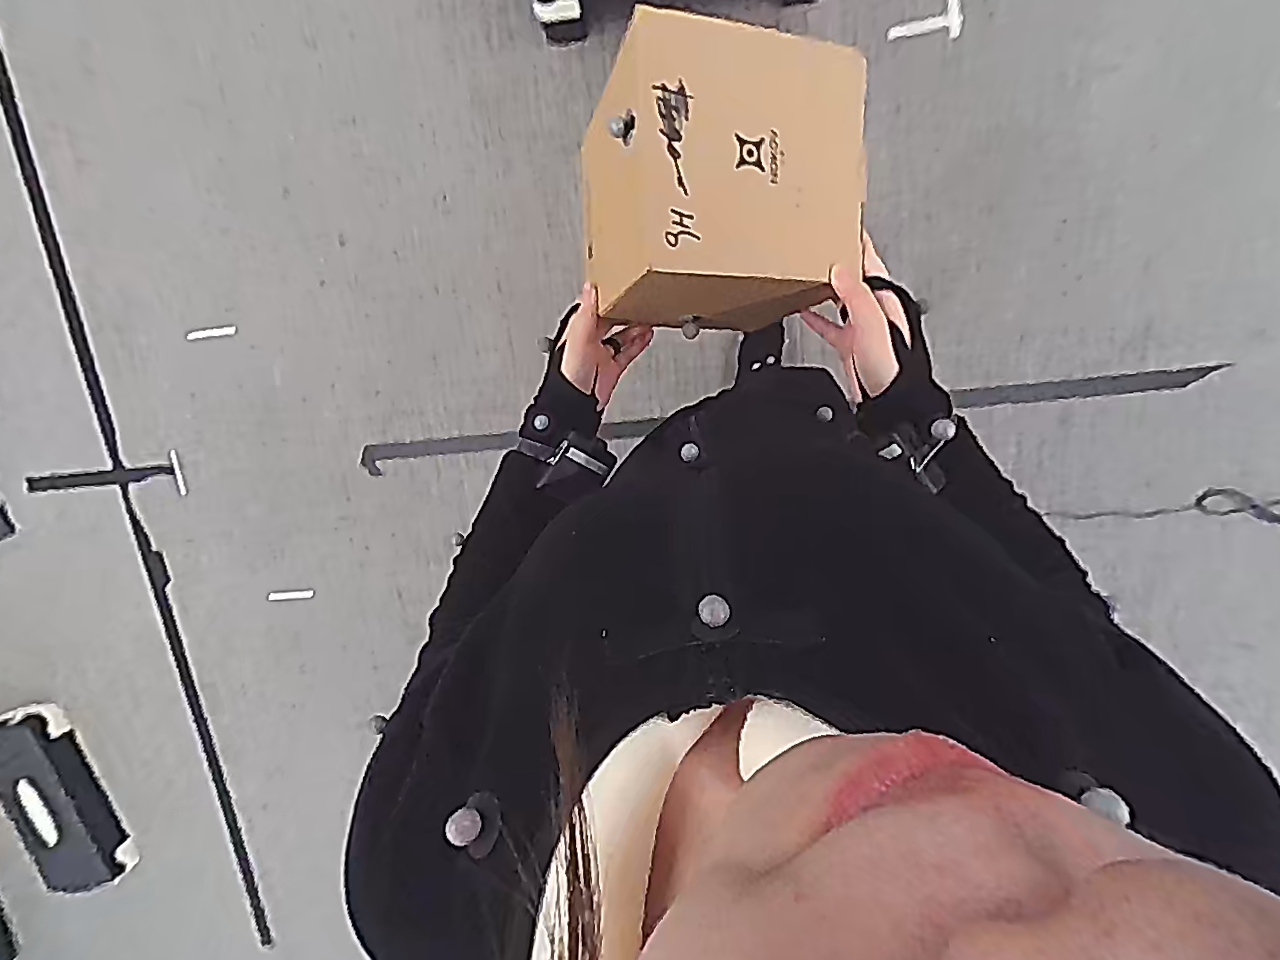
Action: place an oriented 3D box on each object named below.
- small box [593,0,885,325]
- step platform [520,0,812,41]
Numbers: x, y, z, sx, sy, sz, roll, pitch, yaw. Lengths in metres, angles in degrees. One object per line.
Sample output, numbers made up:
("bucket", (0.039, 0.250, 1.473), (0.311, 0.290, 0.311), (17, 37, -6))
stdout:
("small box", (0.068, -0.229, 0.439), (0.179, 0.176, 0.168), (-2, 93, -19))
("step platform", (0.056, -1.183, 1.168), (0.684, 0.204, 0.286), (1, 101, 6))
